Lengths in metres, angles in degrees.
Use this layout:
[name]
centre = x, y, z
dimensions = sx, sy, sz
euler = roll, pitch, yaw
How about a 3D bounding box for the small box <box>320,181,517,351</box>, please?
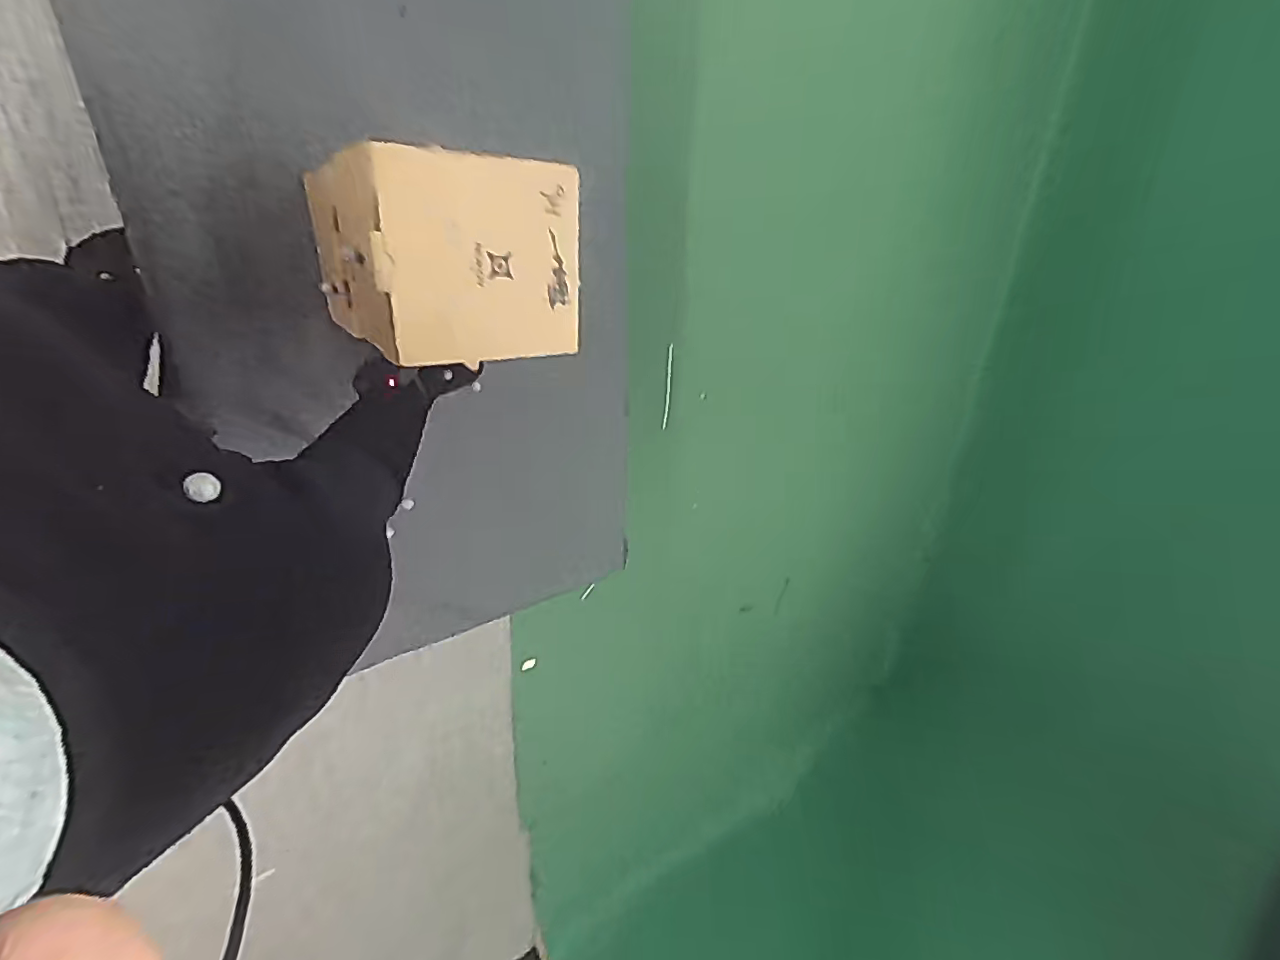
[small box]
centre = -0.269, -0.257, 0.653
dimensions = 0.179, 0.176, 0.168
euler = -17, 120, -33
